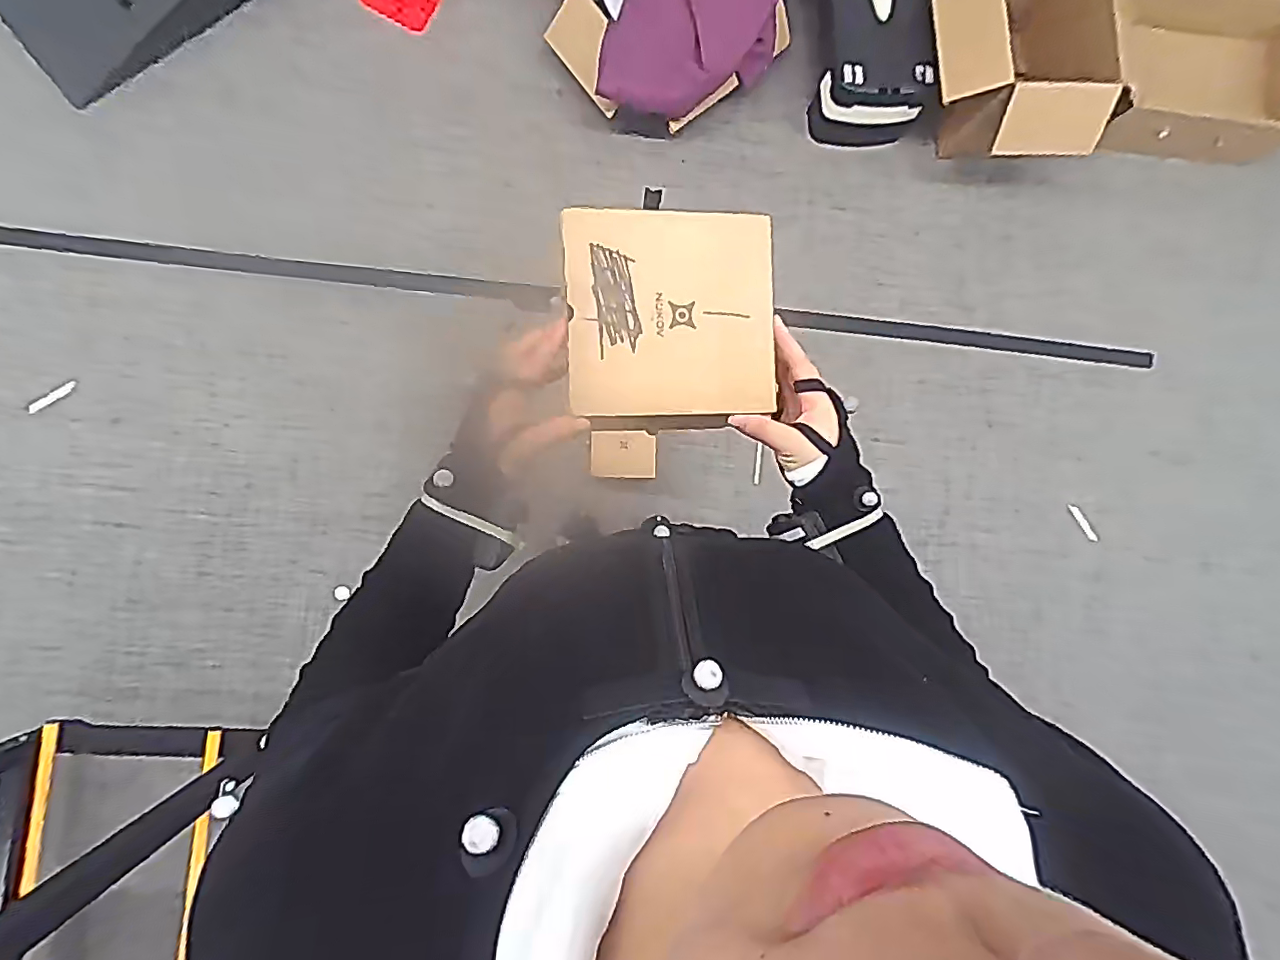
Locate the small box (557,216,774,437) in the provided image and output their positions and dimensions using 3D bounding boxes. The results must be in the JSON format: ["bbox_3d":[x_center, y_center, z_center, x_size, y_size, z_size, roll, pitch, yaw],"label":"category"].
[{"bbox_3d":[0.014,-0.130,0.517,0.179,0.176,0.168,-2,91,-7],"label":"small box"}]

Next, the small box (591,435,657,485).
[{"bbox_3d":[-0.046,-0.078,1.440,0.168,0.176,0.179,1,88,-4],"label":"small box"}]
